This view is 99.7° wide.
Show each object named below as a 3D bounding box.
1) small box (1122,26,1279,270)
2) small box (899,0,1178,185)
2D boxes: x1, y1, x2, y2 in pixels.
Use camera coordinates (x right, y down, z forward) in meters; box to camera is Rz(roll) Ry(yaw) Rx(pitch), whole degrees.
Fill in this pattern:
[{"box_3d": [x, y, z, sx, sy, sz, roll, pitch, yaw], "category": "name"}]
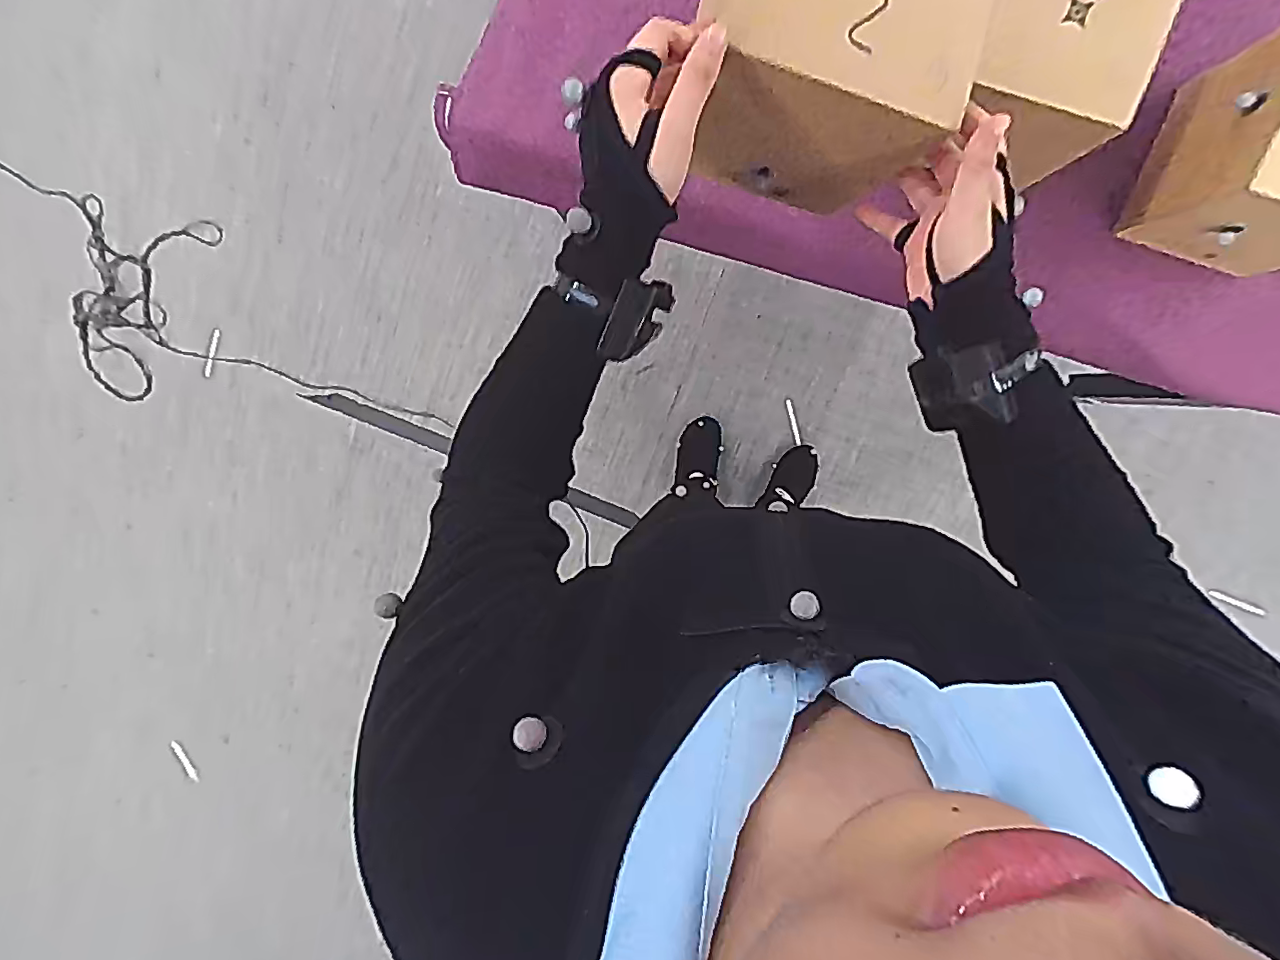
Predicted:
[{"box_3d": [0.678, -0.344, 0.574, 0.168, 0.176, 0.179, 19, 100, 1], "category": "small box"}, {"box_3d": [0.405, -0.447, 0.573, 0.168, 0.176, 0.179, 18, 99, -1], "category": "small box"}]
